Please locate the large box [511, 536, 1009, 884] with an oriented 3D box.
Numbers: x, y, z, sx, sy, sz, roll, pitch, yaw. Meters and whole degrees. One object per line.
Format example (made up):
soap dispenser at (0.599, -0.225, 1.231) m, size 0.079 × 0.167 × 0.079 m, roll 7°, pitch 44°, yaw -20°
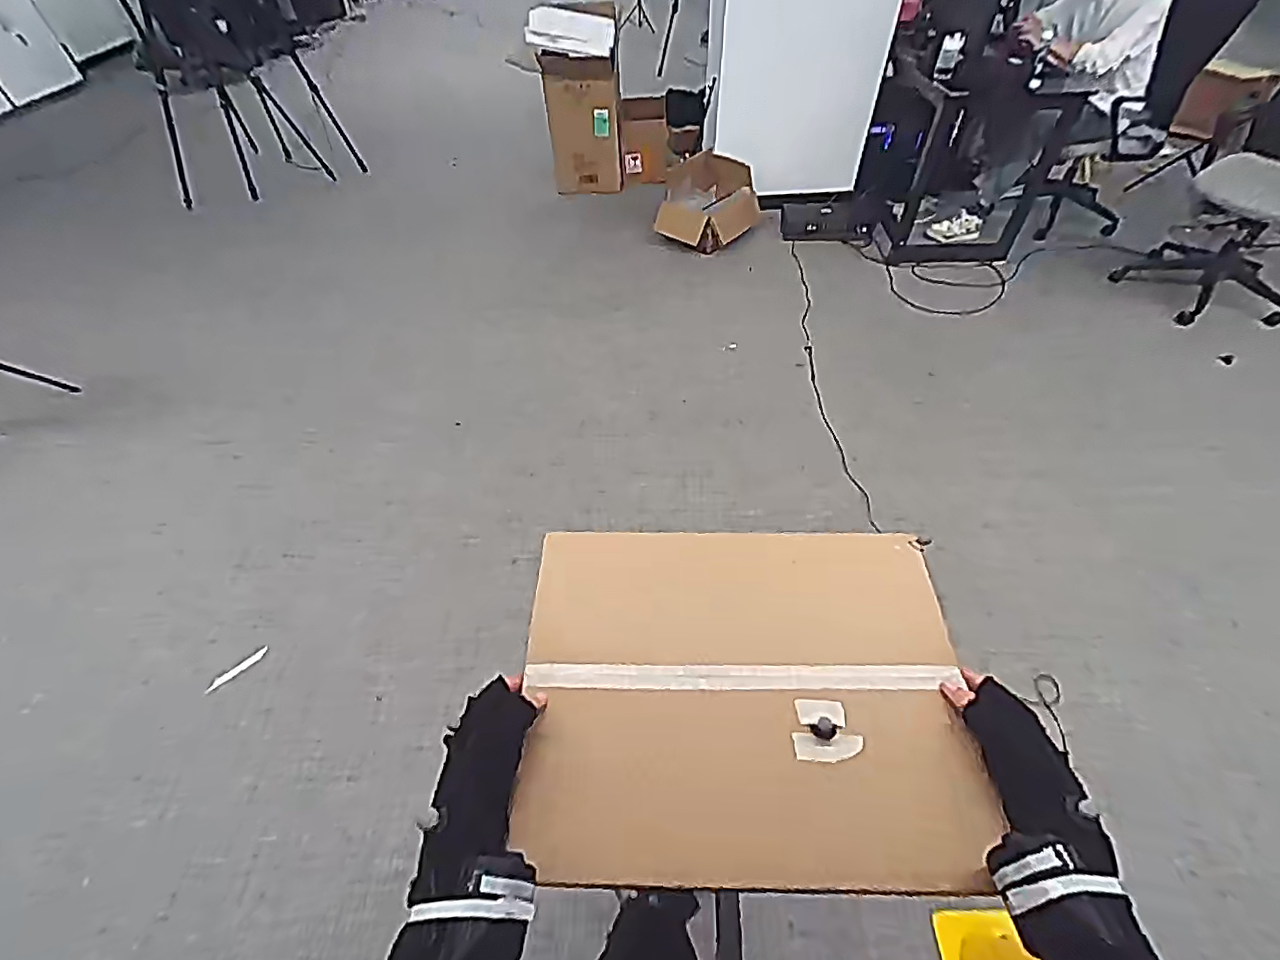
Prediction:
large box at (0.096, 0.276, 0.632) m, size 0.408 × 0.320 × 0.320 m, roll 0°, pitch 54°, yaw 2°
